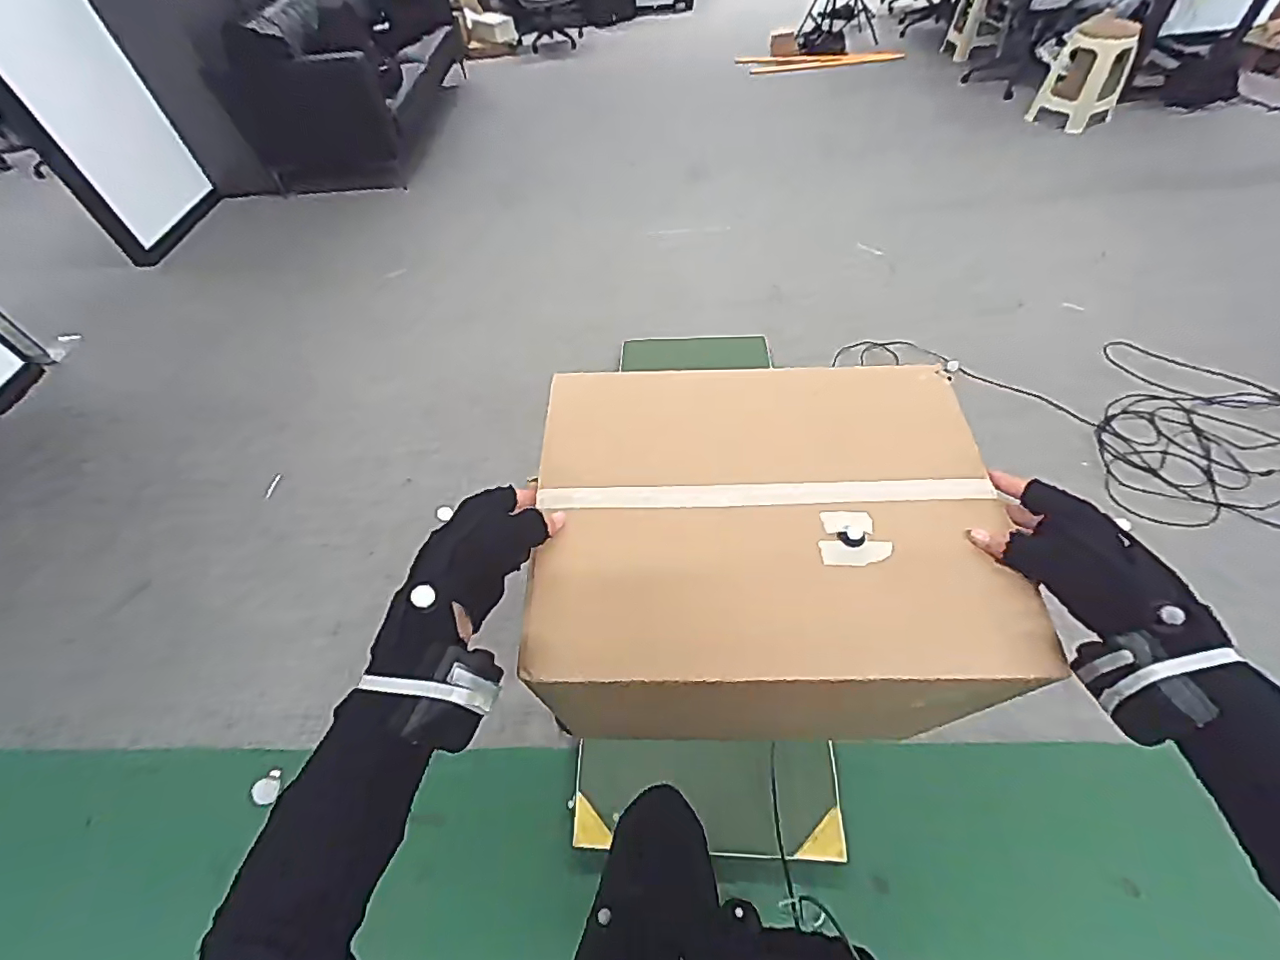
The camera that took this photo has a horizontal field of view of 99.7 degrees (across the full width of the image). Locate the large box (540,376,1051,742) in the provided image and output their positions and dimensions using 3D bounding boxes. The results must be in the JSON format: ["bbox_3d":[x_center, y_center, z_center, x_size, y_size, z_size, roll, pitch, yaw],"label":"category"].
[{"bbox_3d":[0.118,0.104,0.619,0.408,0.320,0.320,-1,57,1],"label":"large box"}]
